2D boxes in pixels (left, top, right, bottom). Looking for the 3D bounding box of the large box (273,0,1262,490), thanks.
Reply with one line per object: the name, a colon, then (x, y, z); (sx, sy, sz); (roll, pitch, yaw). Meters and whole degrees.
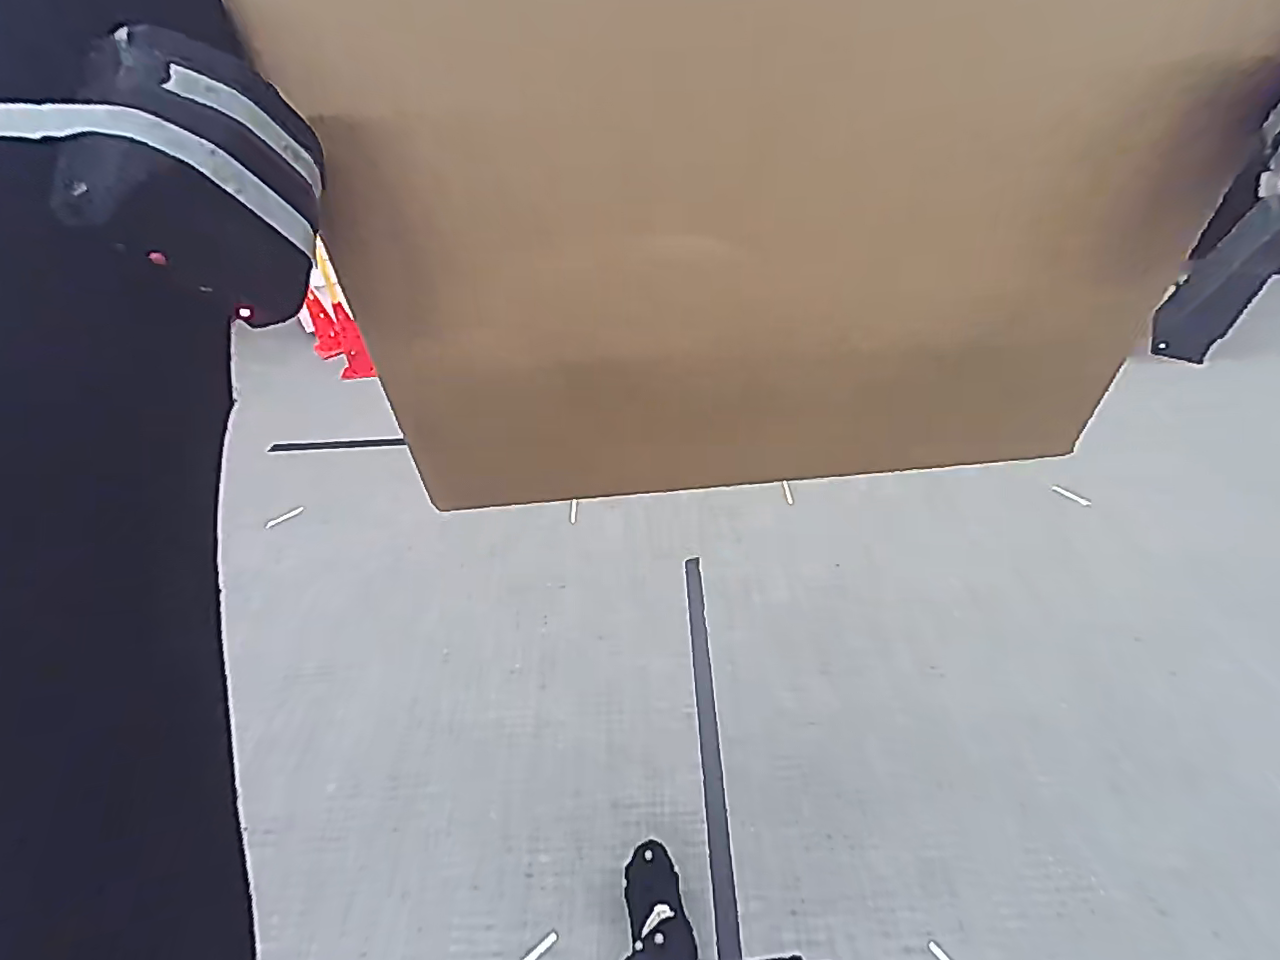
large box: (0.050, -0.218, 0.370); (0.408, 0.320, 0.320); (-5, 41, -3)
